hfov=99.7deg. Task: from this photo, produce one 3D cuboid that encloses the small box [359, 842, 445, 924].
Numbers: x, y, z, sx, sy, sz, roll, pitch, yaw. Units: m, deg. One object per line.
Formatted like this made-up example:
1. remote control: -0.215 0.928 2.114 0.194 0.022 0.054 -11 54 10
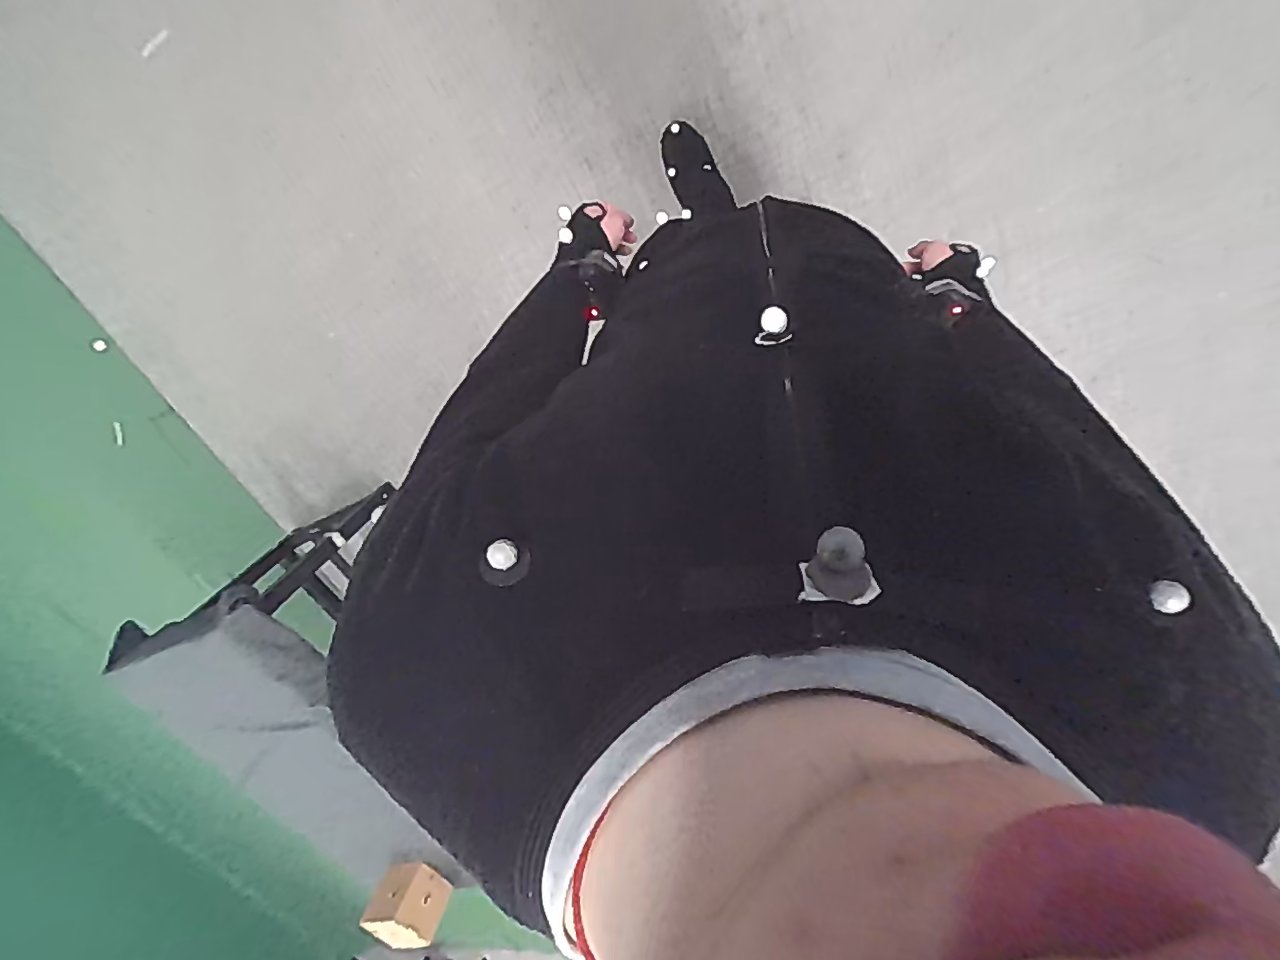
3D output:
1. small box: -0.780 1.340 1.803 0.179 0.176 0.168 -24 113 24
